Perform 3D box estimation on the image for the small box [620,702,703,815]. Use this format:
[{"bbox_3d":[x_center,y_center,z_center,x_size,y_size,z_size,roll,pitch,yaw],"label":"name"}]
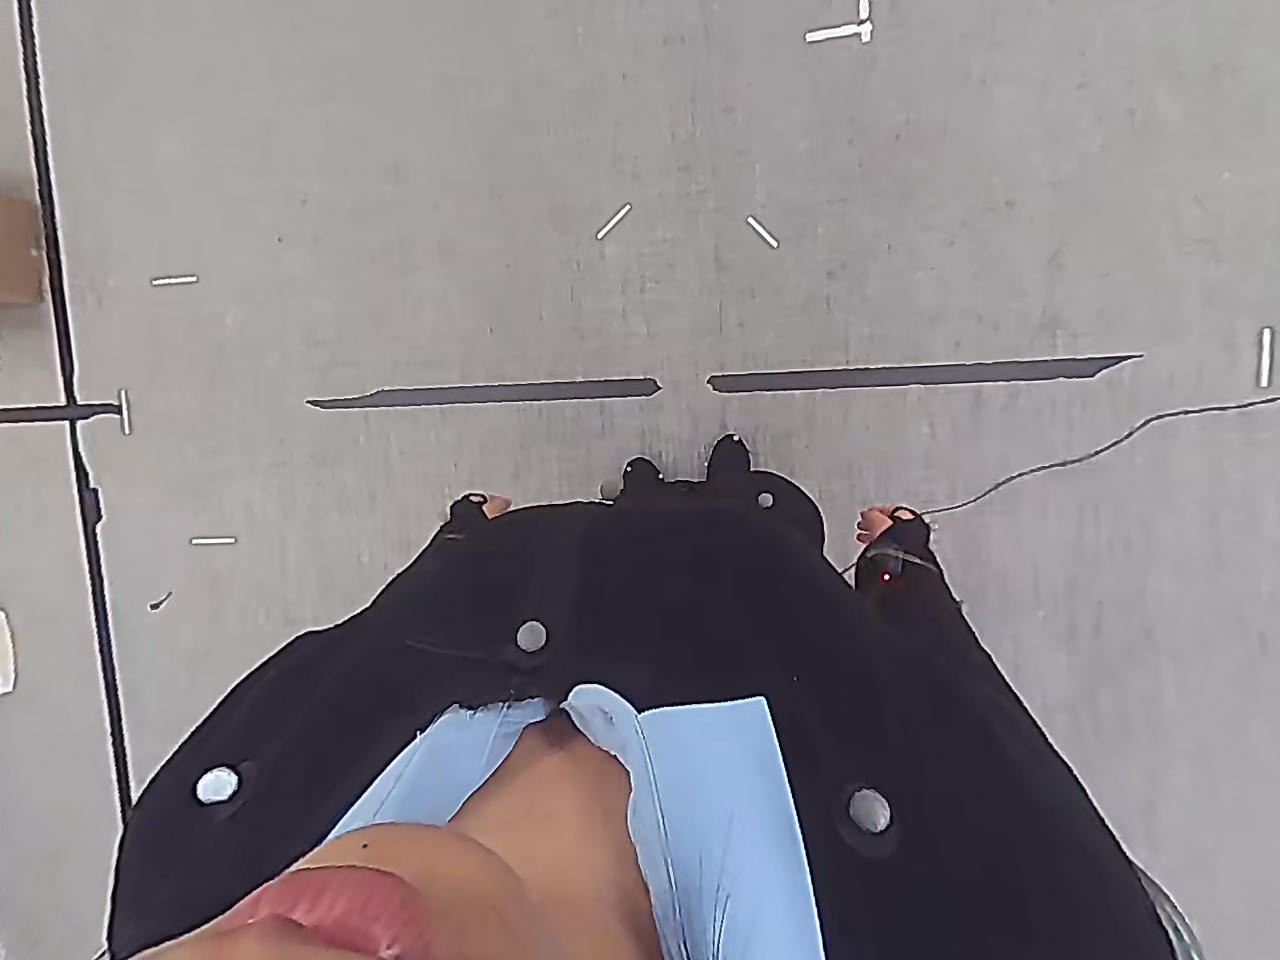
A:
[{"bbox_3d":[0.056,0.642,1.259,0.168,0.176,0.179,-6,93,7],"label":"small box"}]
